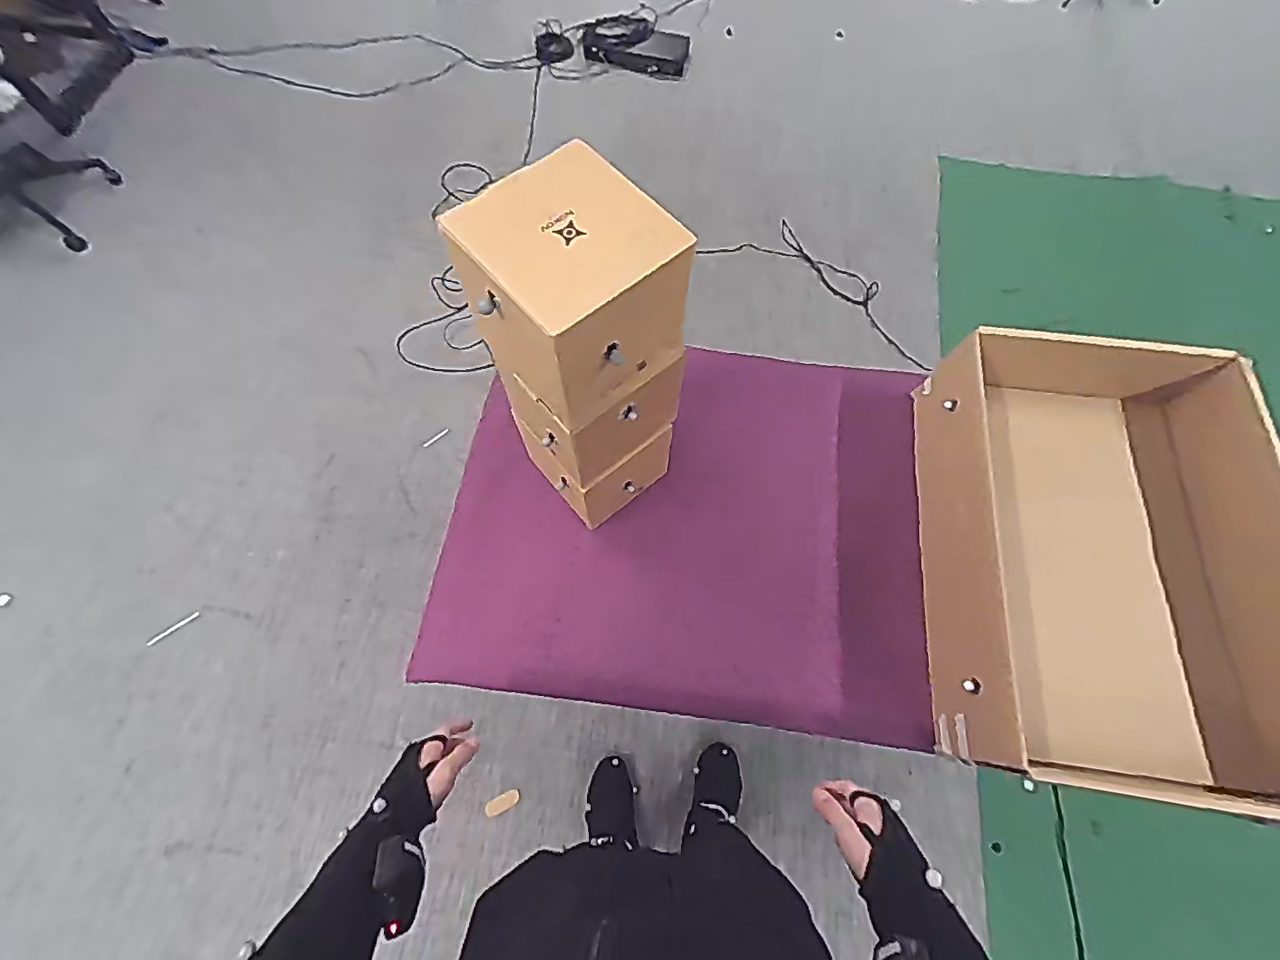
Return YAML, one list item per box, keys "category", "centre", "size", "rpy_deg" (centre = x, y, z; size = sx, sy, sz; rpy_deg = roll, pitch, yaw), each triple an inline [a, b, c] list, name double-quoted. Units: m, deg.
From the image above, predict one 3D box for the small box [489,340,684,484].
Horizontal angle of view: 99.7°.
- category: "small box"
  centre: [-0.063, -0.123, 0.705]
  size: [0.179, 0.176, 0.168]
  rpy_deg: [-37, 73, -15]

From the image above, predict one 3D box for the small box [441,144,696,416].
- category: "small box"
  centre: [-0.065, -0.189, 0.558]
  size: [0.168, 0.176, 0.179]
  rpy_deg: [-39, 73, -15]

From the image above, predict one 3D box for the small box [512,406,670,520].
- category: "small box"
  centre: [-0.071, -0.055, 0.853]
  size: [0.168, 0.176, 0.179]
  rpy_deg: [-37, 72, -16]
